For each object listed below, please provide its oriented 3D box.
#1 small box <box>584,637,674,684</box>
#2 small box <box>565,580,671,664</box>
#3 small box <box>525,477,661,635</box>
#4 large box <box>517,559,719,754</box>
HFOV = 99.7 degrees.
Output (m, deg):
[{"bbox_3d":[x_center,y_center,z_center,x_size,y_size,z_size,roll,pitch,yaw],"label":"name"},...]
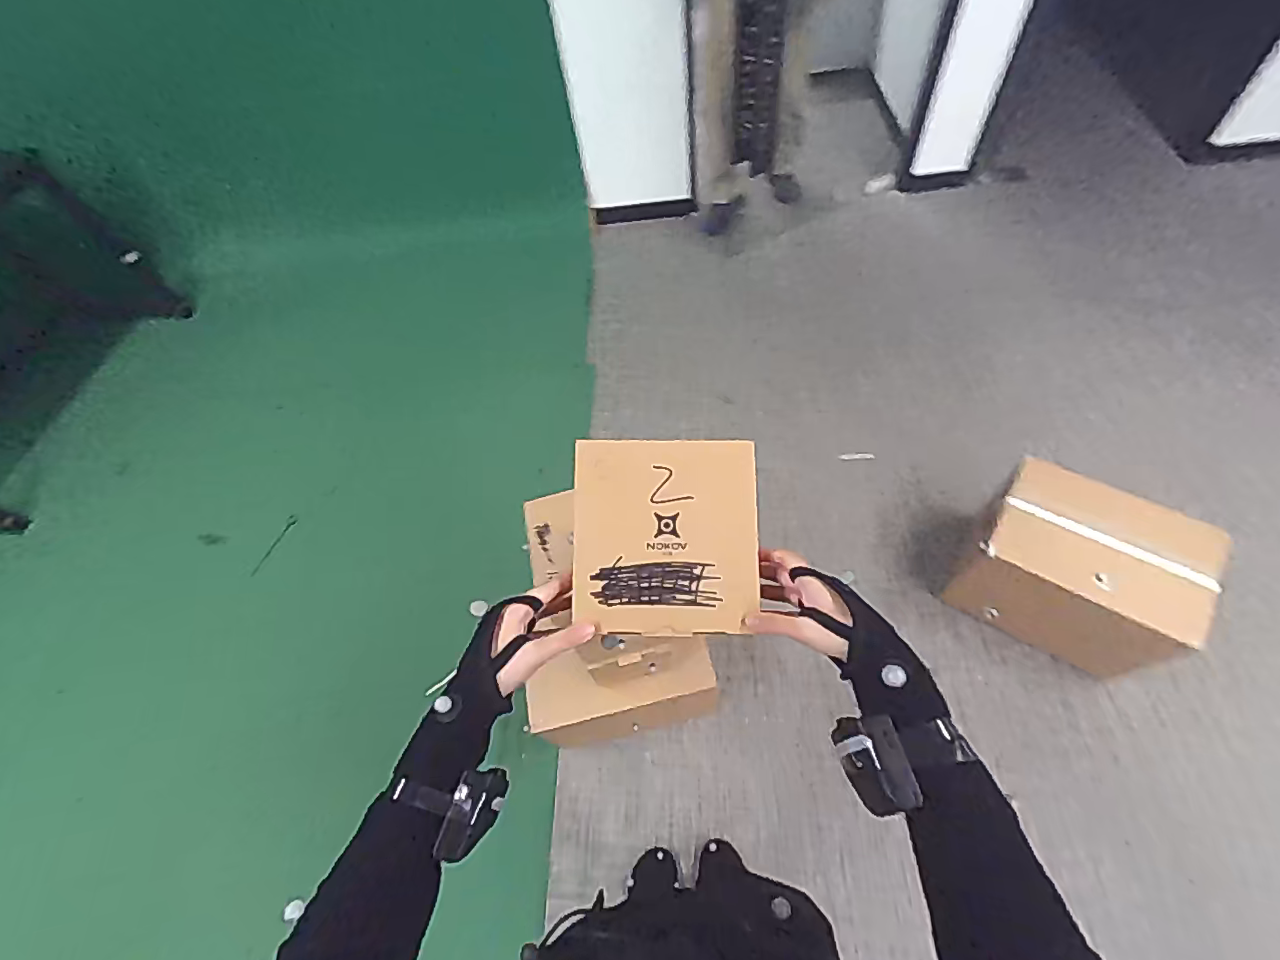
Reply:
[{"bbox_3d":[-0.030,0.306,1.109,0.168,0.176,0.179,-14,56,-2],"label":"small box"},{"bbox_3d":[-0.045,0.213,0.975,0.179,0.176,0.168,-15,57,-2],"label":"small box"},{"bbox_3d":[-0.067,0.123,0.839,0.179,0.176,0.168,-13,56,-3],"label":"small box"},{"bbox_3d":[-0.046,0.438,1.318,0.408,0.320,0.320,-15,55,-1],"label":"large box"}]
